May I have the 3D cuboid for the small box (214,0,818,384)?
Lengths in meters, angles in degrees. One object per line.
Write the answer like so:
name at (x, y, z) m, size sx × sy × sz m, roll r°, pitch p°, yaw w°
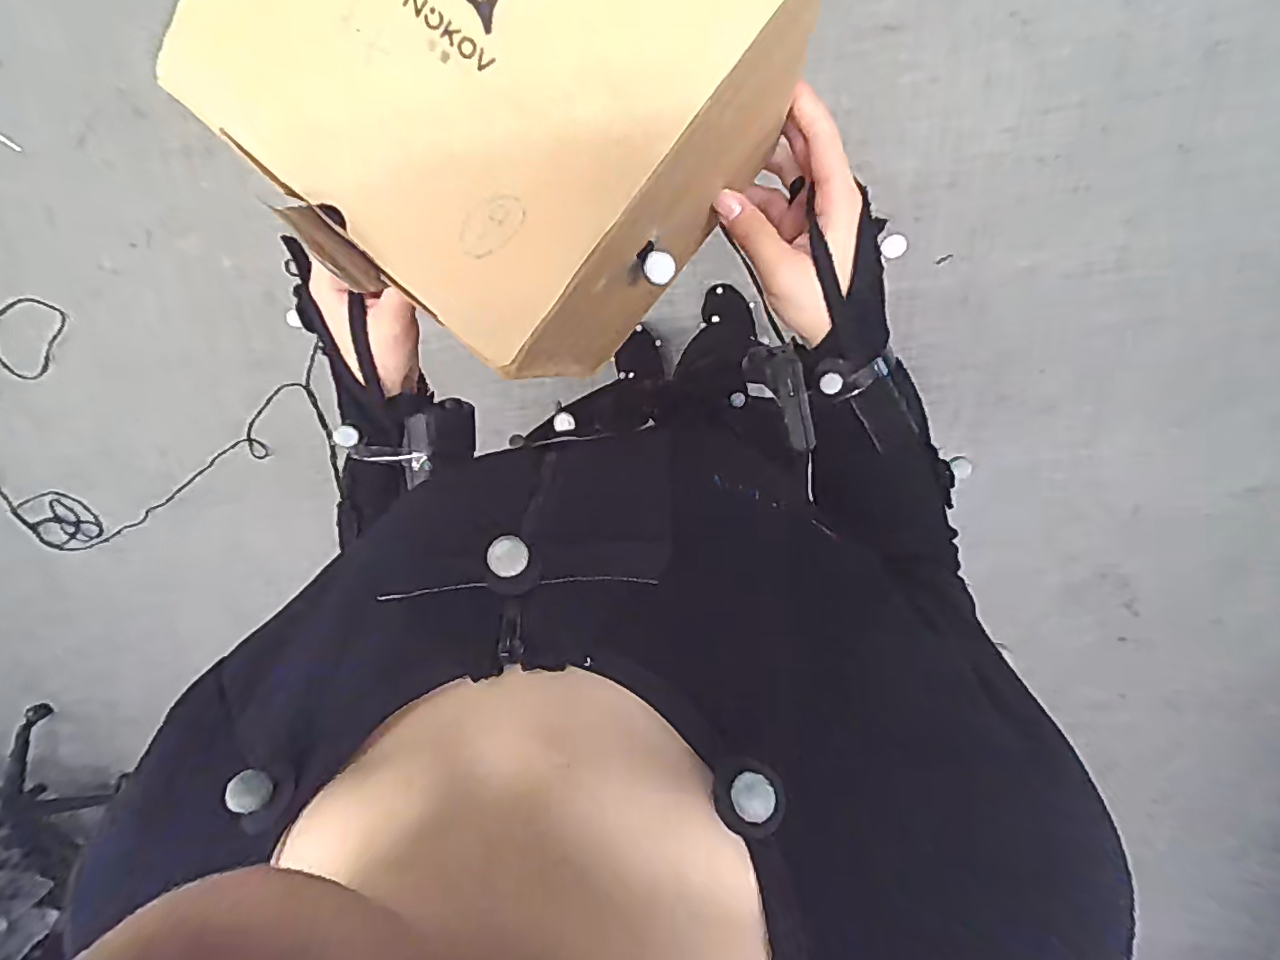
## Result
small box at (-0.042, -0.167, 0.270) m, size 0.168 × 0.176 × 0.179 m, roll 40°, pitch 104°, yaw -2°
